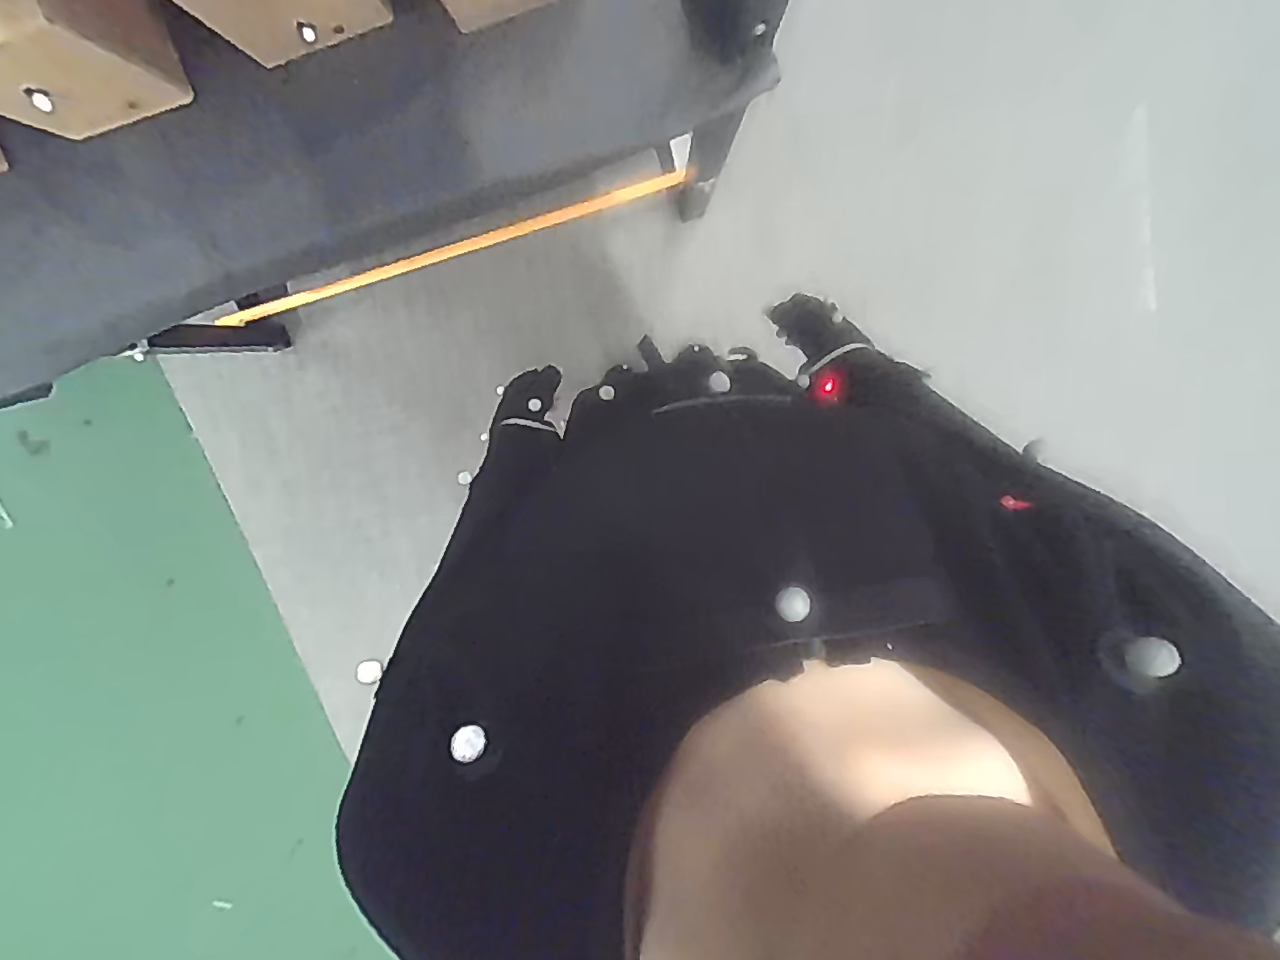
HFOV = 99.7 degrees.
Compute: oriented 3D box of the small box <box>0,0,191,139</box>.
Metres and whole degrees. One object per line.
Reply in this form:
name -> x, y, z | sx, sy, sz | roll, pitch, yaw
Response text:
small box -> -0.631, -0.486, 0.561 | 0.168, 0.176, 0.179 | -15, 103, 4
